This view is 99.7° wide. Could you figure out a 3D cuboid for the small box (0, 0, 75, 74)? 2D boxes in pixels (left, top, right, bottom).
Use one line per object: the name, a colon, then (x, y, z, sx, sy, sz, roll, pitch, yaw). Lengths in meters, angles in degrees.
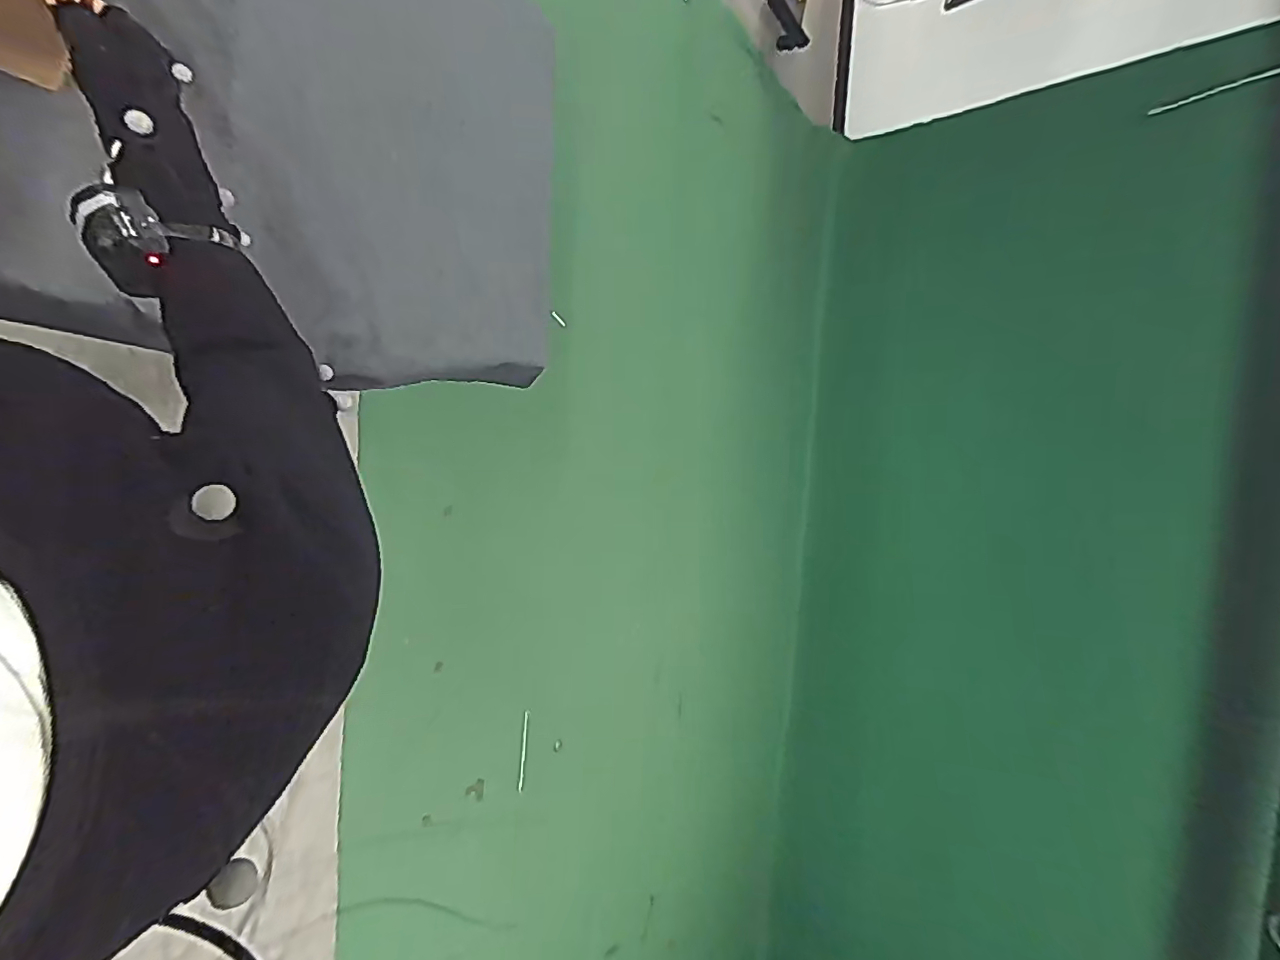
small box: (-0.538, -0.450, 0.395, 0.168, 0.176, 0.179, -1, 97, -52)
